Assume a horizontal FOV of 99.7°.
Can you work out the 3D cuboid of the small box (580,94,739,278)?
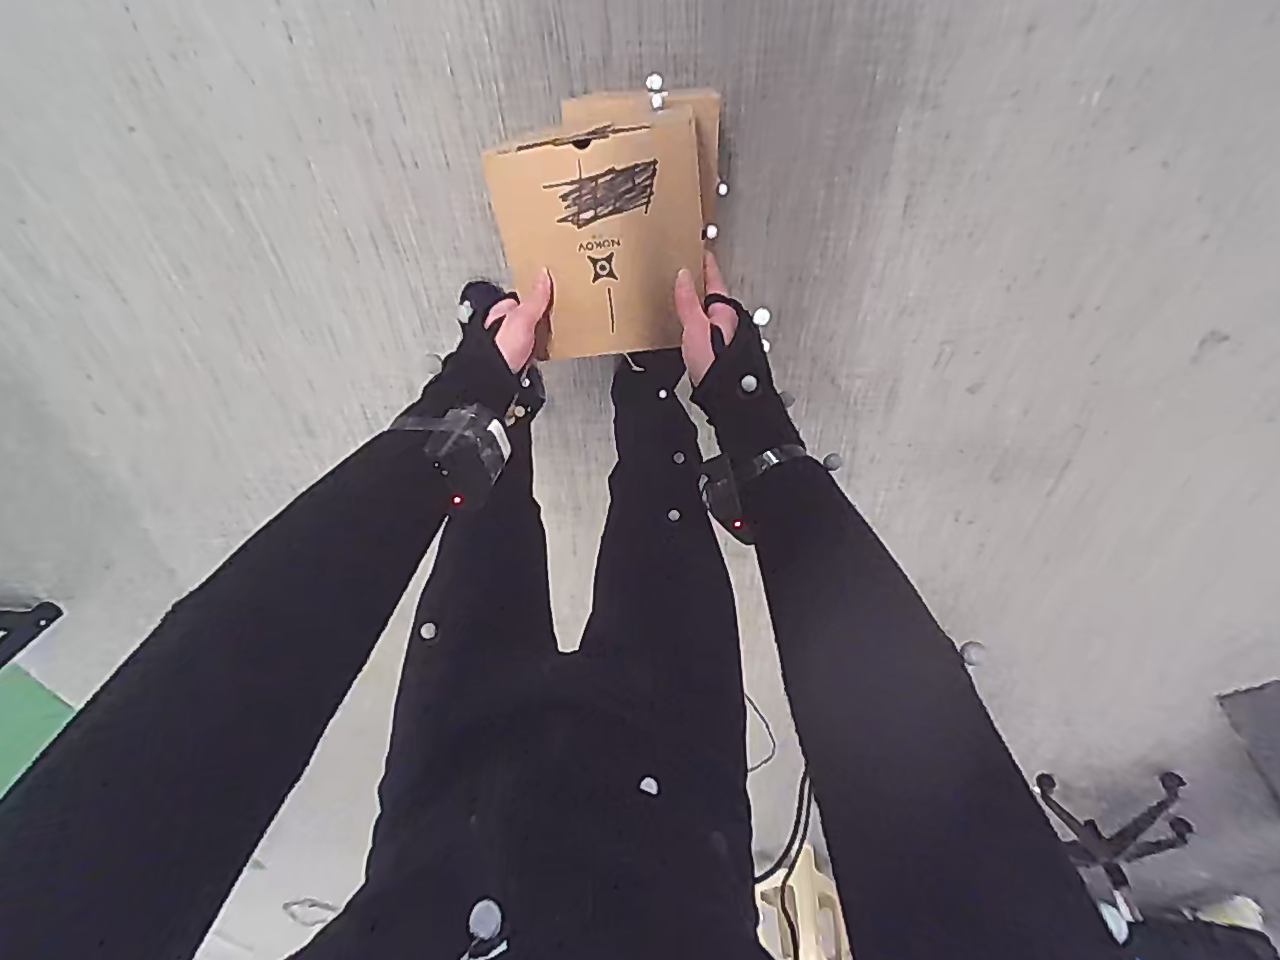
[{"bbox_3d":[0.026,-0.359,0.658,0.168,0.176,0.179,1,126,3],"label":"small box"}]

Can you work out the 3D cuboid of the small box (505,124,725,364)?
[{"bbox_3d":[-0.009,-0.224,0.505,0.168,0.176,0.179,0,127,7],"label":"small box"}]
